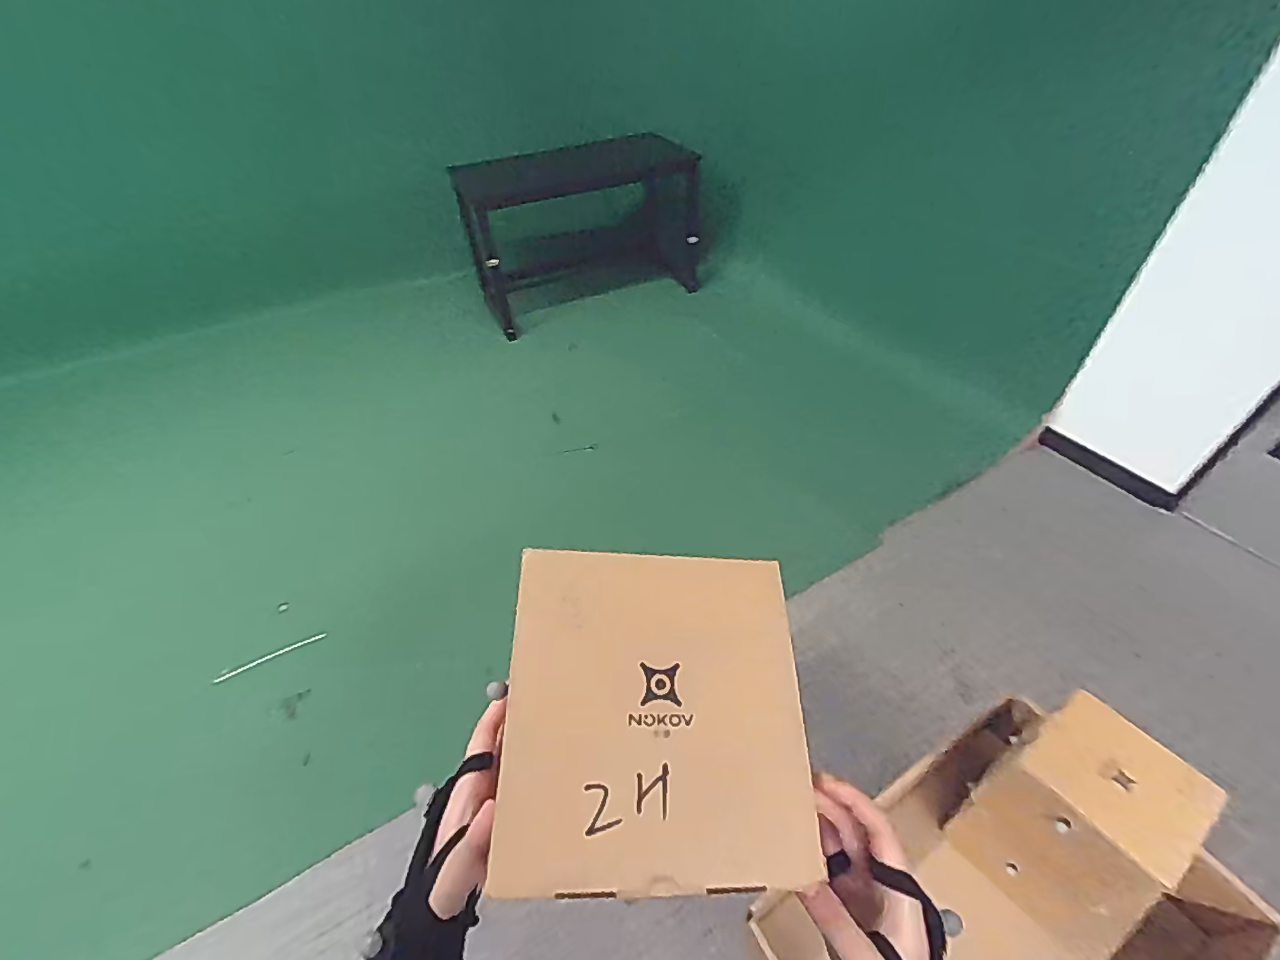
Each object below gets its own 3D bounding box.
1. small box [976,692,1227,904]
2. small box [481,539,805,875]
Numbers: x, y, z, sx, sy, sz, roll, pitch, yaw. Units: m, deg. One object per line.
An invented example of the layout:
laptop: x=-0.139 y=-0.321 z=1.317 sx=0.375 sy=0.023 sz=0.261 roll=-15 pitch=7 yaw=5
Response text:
small box: x=0.613 y=0.438 z=0.742 sx=0.168 sy=0.176 sz=0.179 roll=-28 pitch=48 yaw=-22
small box: x=-0.007 y=0.158 z=0.376 sx=0.168 sy=0.176 sz=0.179 roll=4 pitch=60 yaw=-7
